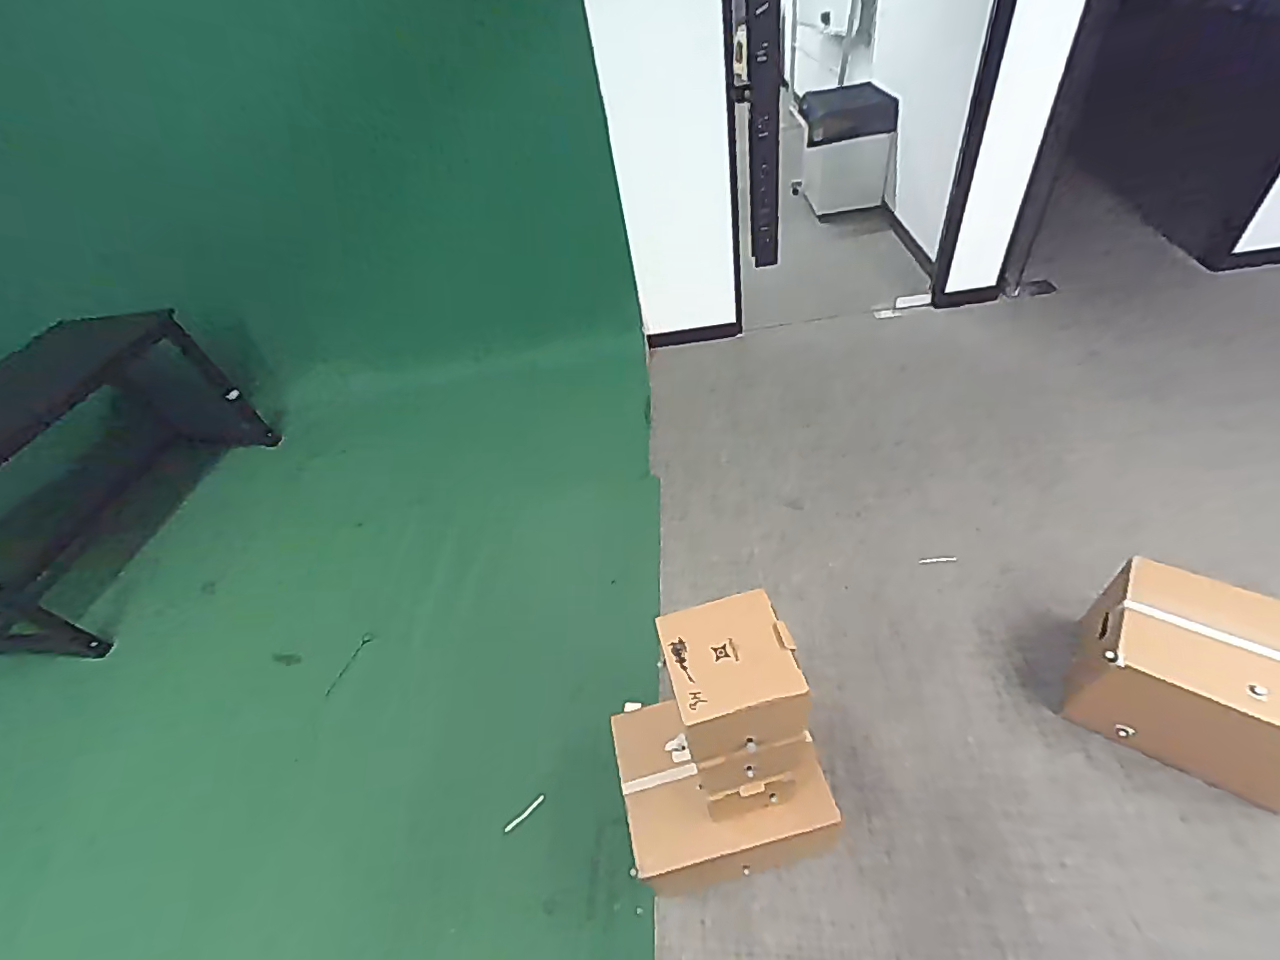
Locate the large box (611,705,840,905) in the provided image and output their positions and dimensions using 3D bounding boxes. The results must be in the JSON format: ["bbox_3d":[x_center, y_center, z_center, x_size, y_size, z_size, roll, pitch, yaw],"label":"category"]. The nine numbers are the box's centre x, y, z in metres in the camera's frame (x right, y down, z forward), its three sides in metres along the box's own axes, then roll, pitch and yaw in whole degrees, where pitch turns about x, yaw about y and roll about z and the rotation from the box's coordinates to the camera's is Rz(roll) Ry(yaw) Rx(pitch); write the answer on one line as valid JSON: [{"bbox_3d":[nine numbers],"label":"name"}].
[{"bbox_3d":[0.185,0.698,1.217,0.408,0.320,0.320,-16,43,-1],"label":"large box"}]

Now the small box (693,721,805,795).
[{"bbox_3d":[0.163,0.411,0.924,0.179,0.176,0.168,-16,45,-2],"label":"small box"}]

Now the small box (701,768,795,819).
[{"bbox_3d":[0.187,0.527,1.037,0.168,0.176,0.179,-15,45,-1],"label":"small box"}]

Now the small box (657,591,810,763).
[{"bbox_3d":[0.133,0.296,0.810,0.179,0.176,0.168,-14,45,-2],"label":"small box"}]
